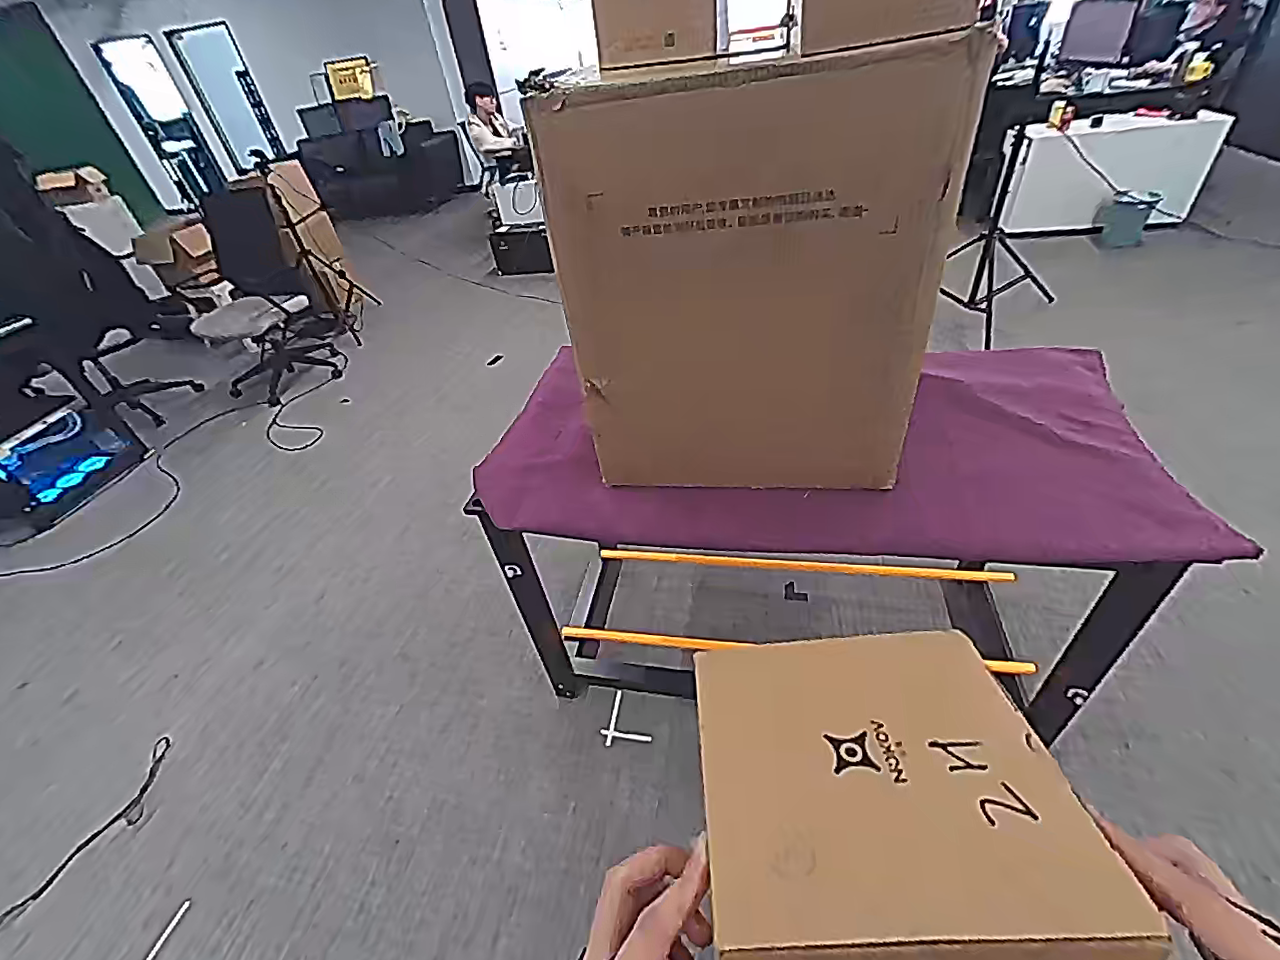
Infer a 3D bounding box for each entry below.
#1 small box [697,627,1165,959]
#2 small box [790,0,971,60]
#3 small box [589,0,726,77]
[{"bbox_3d":[0.134,0.213,0.319,0.179,0.176,0.168,-7,27,6],"label":"small box"},{"bbox_3d":[0.254,-0.569,0.577,0.179,0.176,0.168,-2,41,11],"label":"small box"},{"bbox_3d":[0.029,-0.679,0.755,0.168,0.176,0.179,3,41,14],"label":"small box"}]
